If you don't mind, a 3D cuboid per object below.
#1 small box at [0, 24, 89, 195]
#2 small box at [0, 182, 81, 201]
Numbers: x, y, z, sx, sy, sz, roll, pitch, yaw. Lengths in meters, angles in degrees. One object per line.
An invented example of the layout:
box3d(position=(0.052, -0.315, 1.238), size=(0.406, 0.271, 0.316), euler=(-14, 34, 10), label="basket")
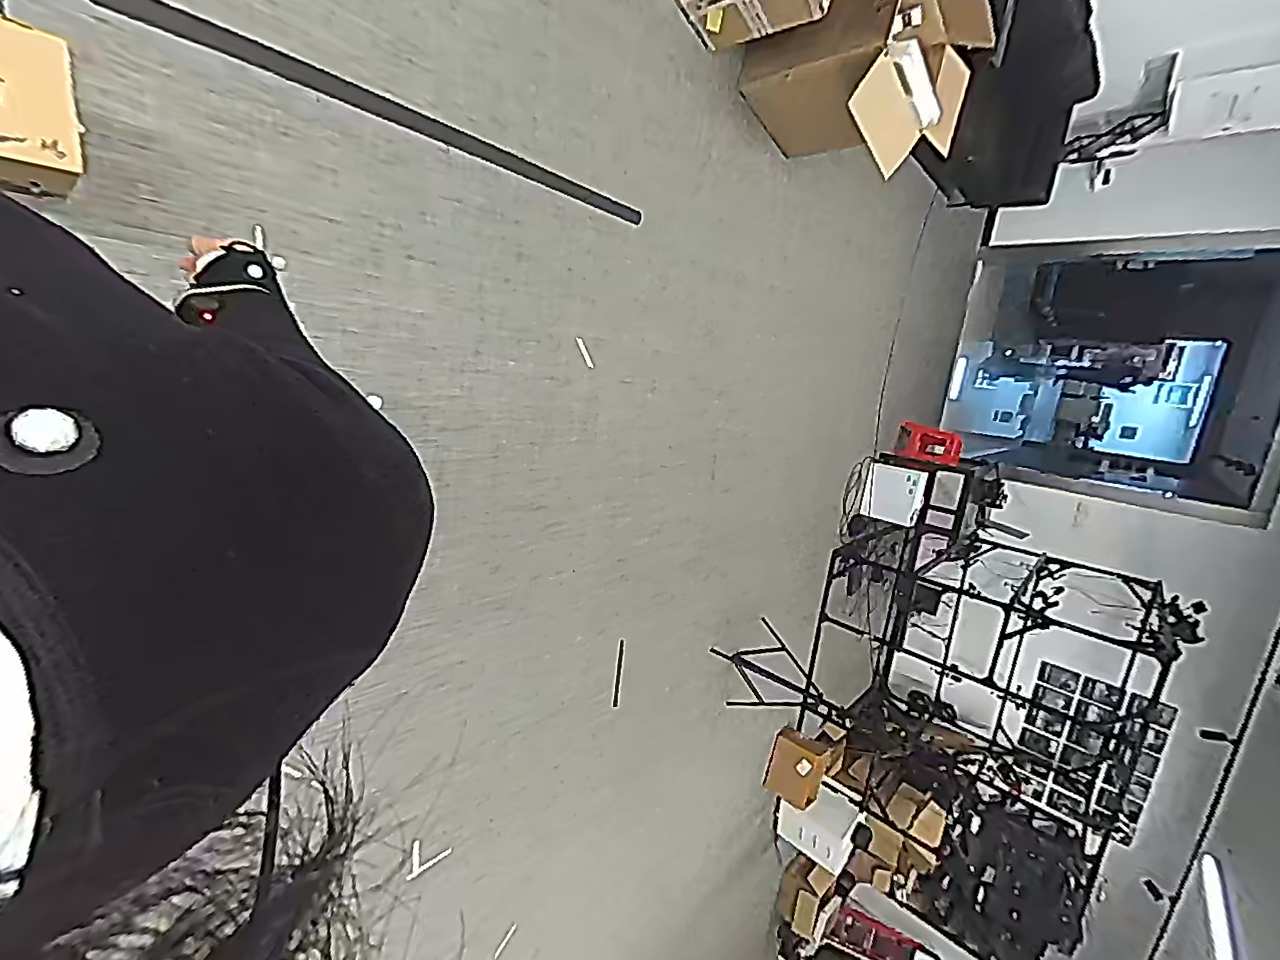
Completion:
box3d(position=(-0.919, -0.532, 0.771), size=(0.168, 0.176, 0.179), euler=(-9, 108, -47), label="small box")
box3d(position=(-1.041, -0.568, 0.875), size=(0.179, 0.176, 0.168), euler=(-6, 106, -47), label="small box")
